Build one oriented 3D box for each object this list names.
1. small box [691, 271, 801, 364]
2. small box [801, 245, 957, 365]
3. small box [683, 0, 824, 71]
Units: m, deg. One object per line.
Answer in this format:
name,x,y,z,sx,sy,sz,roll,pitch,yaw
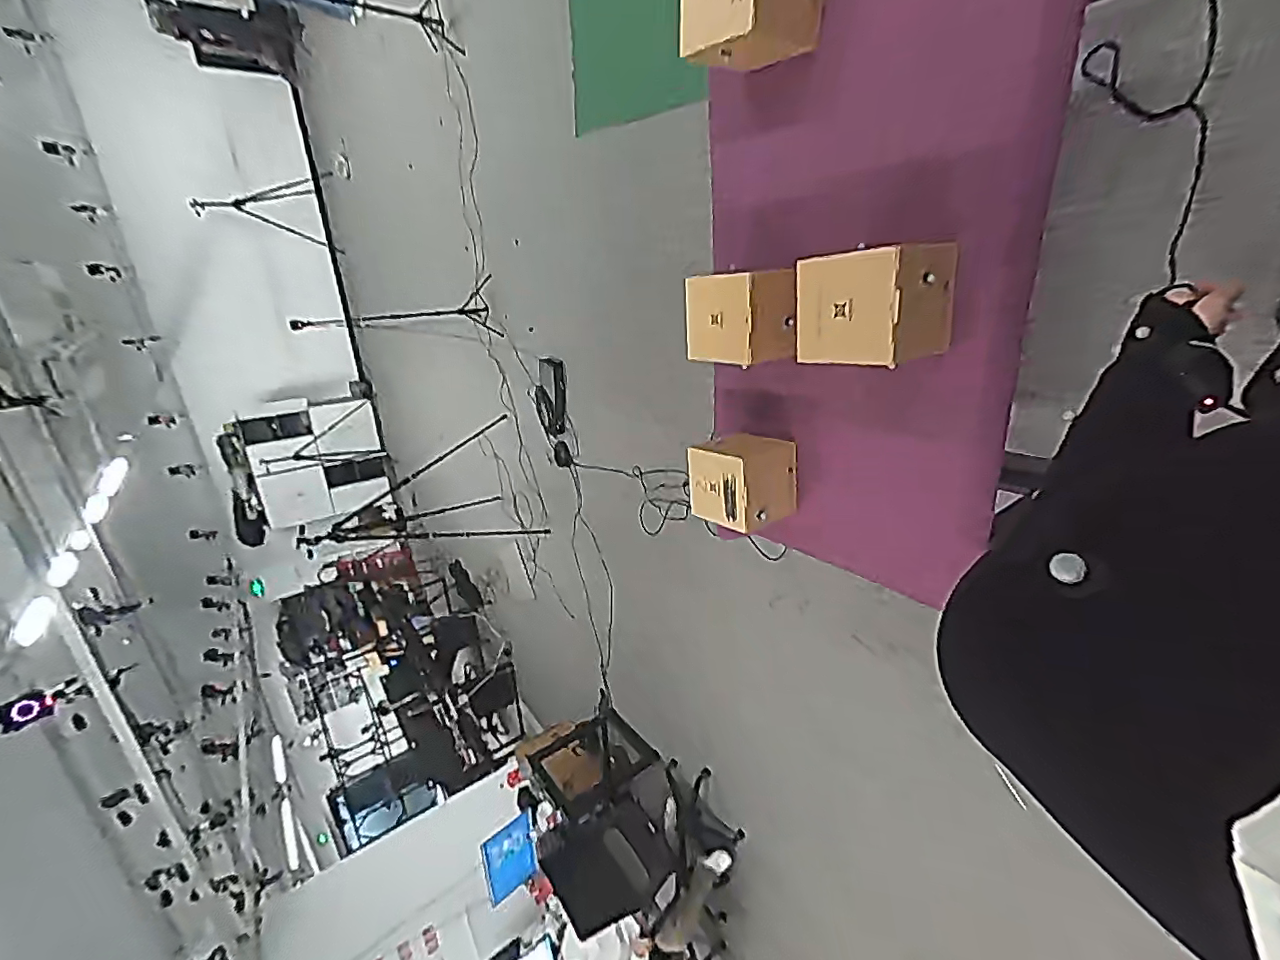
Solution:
small box,0.225,-0.335,1.105,0.179,0.176,0.168,21,121,50
small box,0.386,-0.284,0.883,0.179,0.176,0.168,20,120,53
small box,0.192,-0.820,0.918,0.179,0.176,0.168,28,128,47
